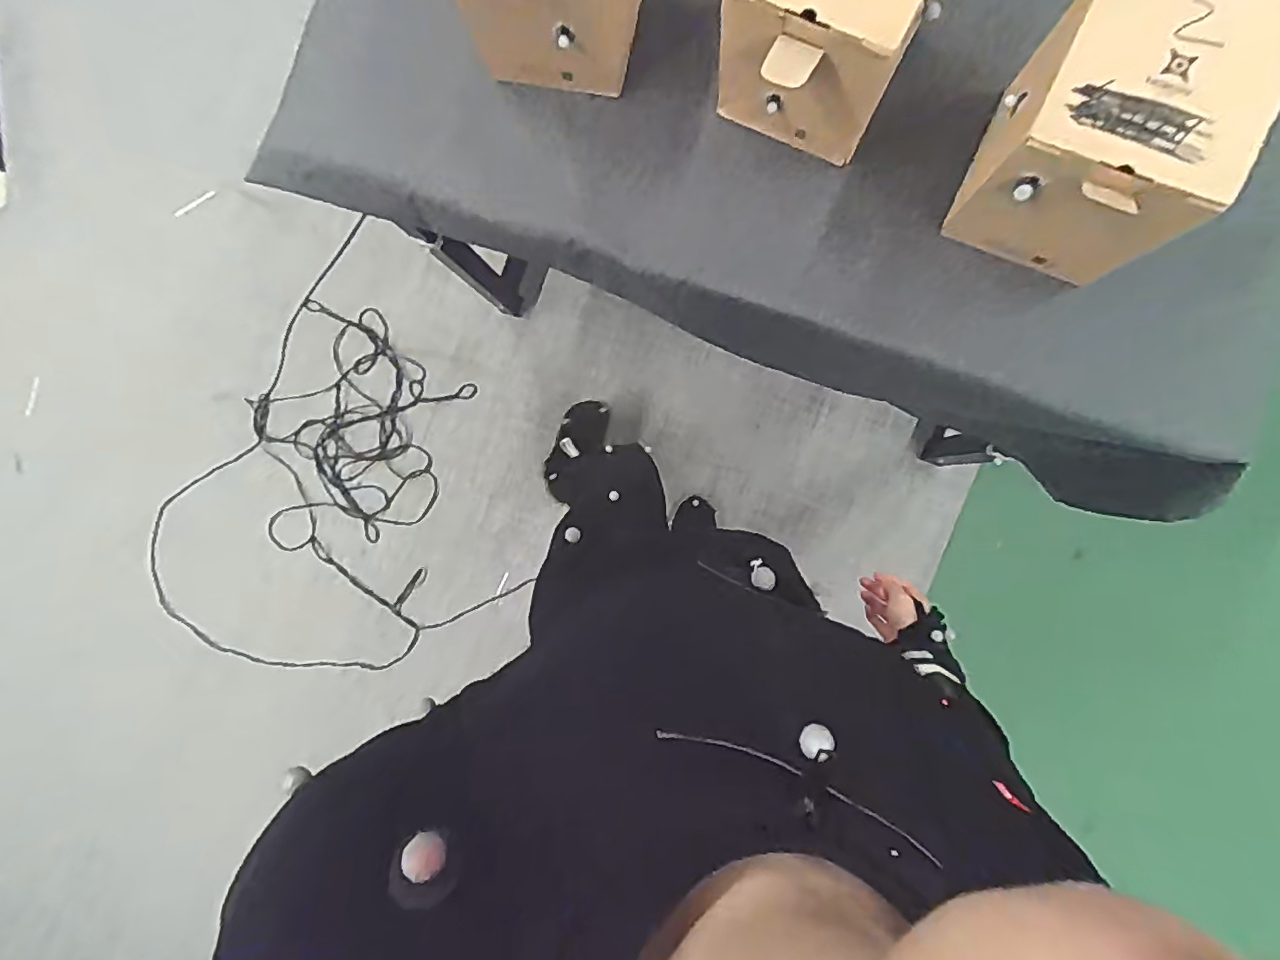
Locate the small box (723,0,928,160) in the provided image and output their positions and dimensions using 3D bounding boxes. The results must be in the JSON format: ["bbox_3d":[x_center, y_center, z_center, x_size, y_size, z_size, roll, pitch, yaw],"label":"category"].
[{"bbox_3d":[0.190,-0.469,0.534,0.168,0.176,0.179,27,93,5],"label":"small box"}]

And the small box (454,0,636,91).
[{"bbox_3d":[-0.096,-0.555,0.565,0.168,0.176,0.179,13,90,5],"label":"small box"}]
